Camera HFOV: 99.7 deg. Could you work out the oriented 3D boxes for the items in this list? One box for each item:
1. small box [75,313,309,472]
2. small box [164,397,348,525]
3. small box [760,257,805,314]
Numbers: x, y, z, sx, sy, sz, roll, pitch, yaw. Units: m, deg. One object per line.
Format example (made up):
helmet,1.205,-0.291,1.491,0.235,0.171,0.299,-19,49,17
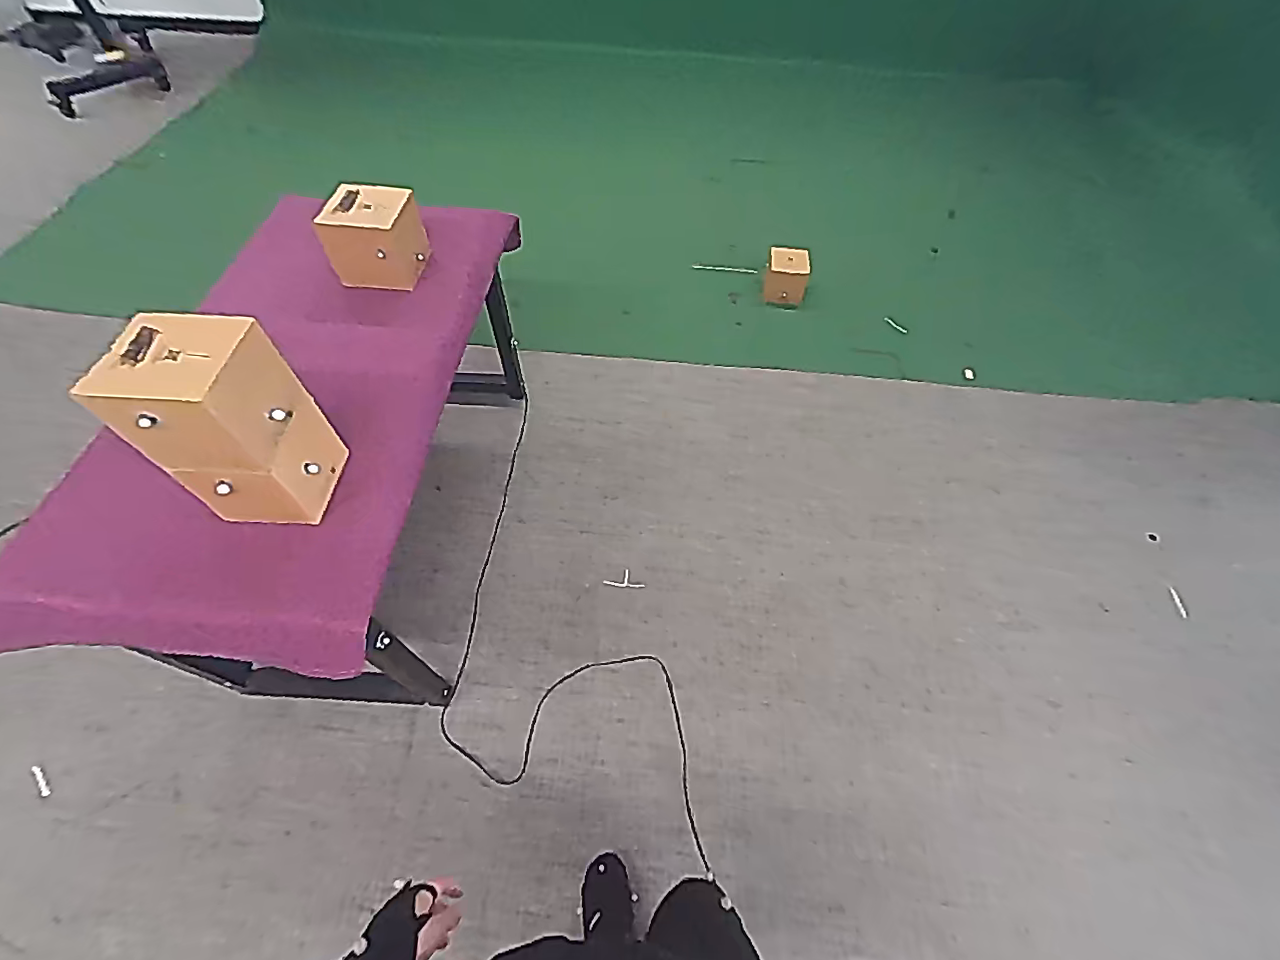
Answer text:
small box,-0.646,-0.126,0.809,0.179,0.176,0.168,4,56,0
small box,-0.649,-0.033,0.945,0.179,0.176,0.168,3,56,0
small box,0.644,-0.883,2.461,0.168,0.176,0.179,7,56,2
